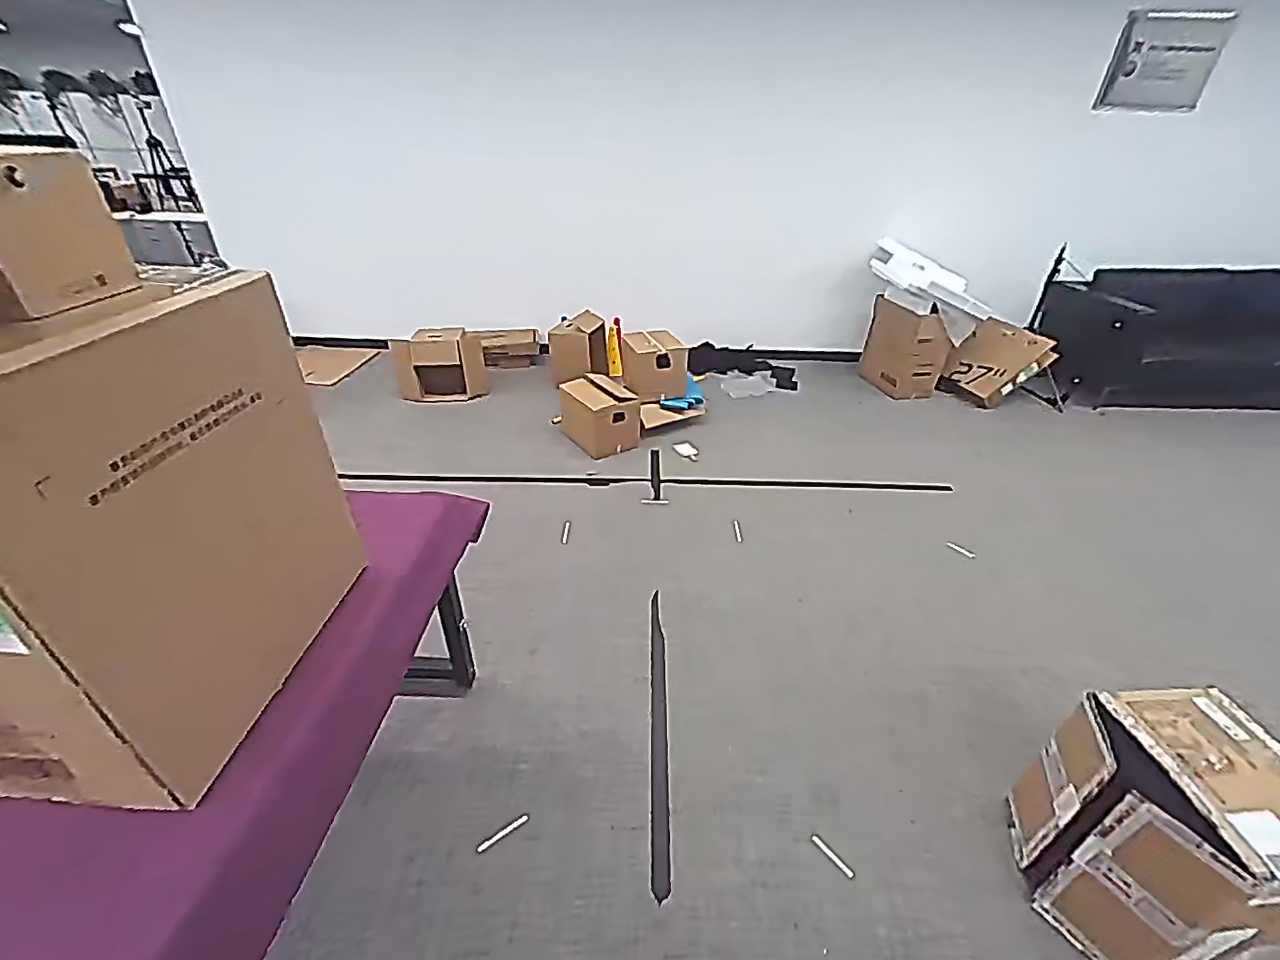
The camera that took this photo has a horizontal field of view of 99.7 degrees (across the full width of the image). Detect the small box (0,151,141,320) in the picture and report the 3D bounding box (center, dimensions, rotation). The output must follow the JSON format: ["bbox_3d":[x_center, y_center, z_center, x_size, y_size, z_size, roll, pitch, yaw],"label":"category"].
[{"bbox_3d":[-0.789,-0.300,0.658,0.179,0.176,0.168,2,34,2],"label":"small box"}]
